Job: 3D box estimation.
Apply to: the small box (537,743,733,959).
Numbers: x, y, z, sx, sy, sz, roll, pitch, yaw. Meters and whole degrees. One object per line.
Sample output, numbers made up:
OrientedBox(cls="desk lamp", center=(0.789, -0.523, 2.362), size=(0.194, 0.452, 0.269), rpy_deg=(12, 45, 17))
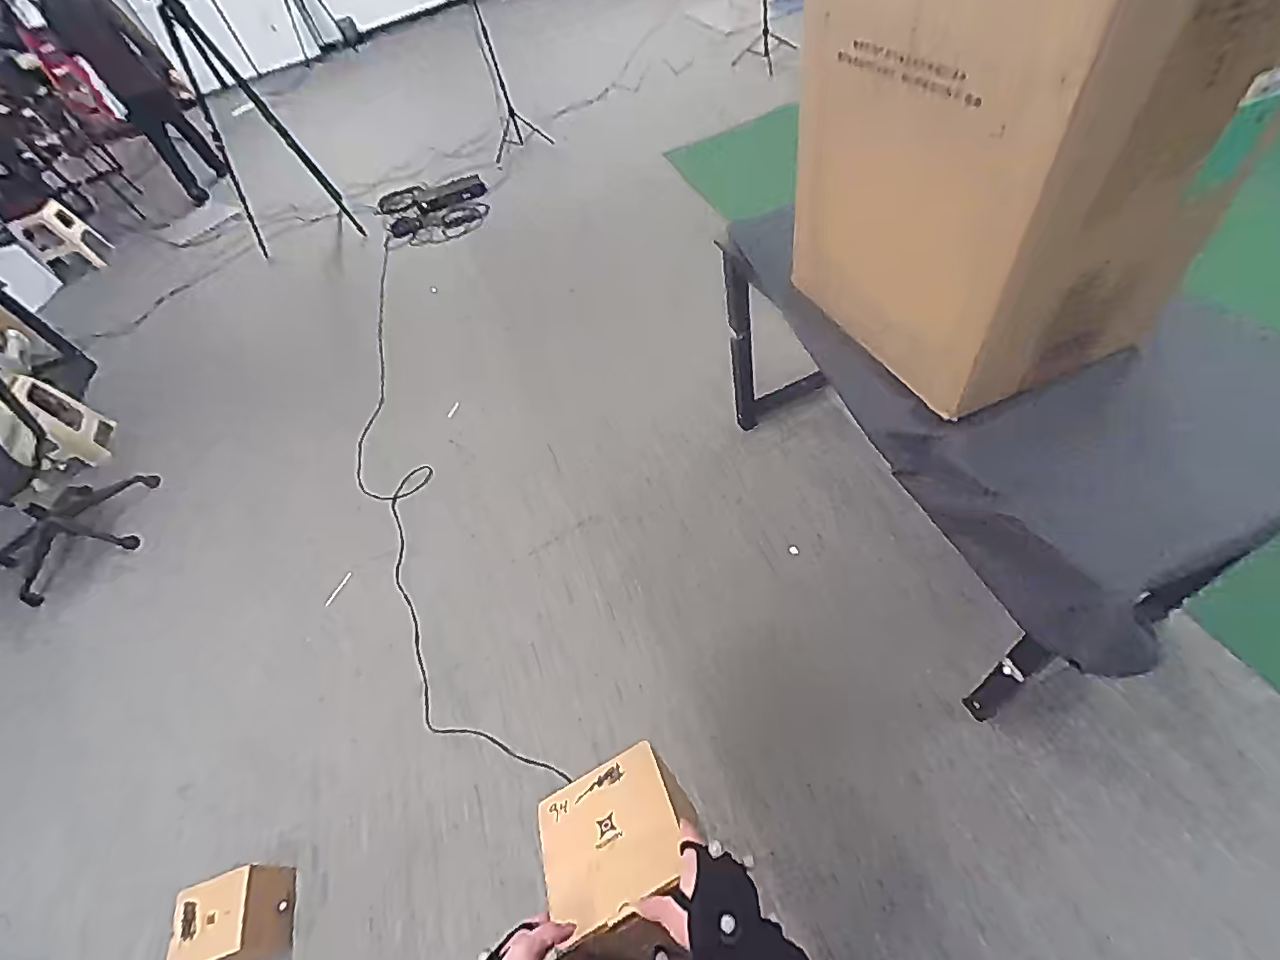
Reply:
OrientedBox(cls="small box", center=(-0.008, 0.480, 0.672), size=(0.168, 0.176, 0.179), rpy_deg=(-30, 26, -4))

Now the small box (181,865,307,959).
OrientedBox(cls="small box", center=(-0.952, 1.065, 1.310), size=(0.179, 0.176, 0.168), rpy_deg=(-21, 52, -3))
